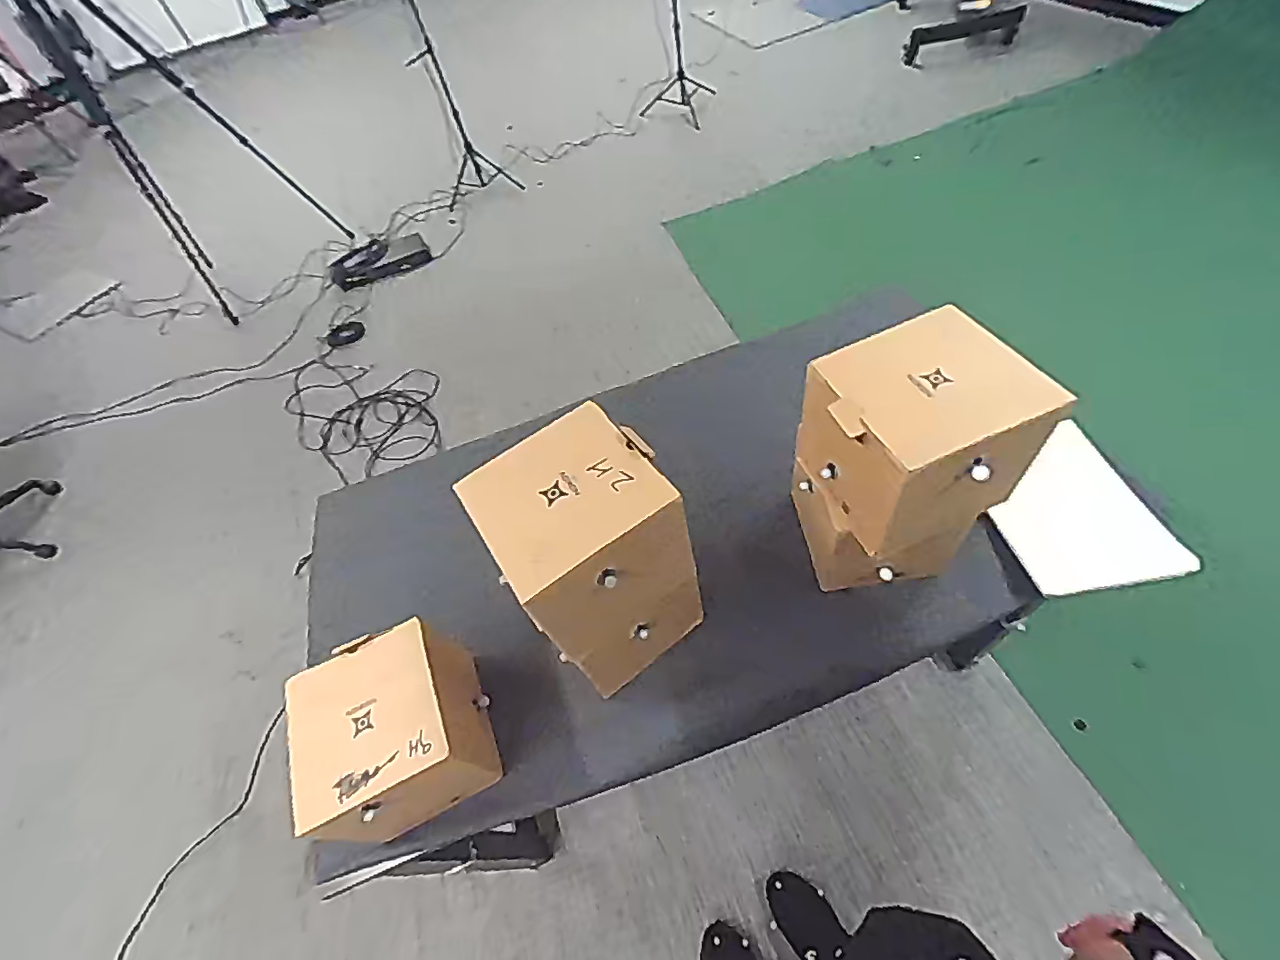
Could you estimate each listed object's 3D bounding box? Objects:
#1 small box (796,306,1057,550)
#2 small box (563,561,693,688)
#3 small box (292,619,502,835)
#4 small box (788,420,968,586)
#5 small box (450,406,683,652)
[{"bbox_3d":[0.290,-0.052,0.598,0.179,0.176,0.168,-24,54,-4],"label":"small box"},{"bbox_3d":[-0.044,0.150,0.732,0.179,0.176,0.168,-36,57,-14],"label":"small box"},{"bbox_3d":[-0.294,0.309,0.670,0.168,0.176,0.179,-27,55,-8],"label":"small box"},{"bbox_3d":[0.306,0.023,0.743,0.168,0.176,0.179,-10,54,6],"label":"small box"},{"bbox_3d":[-0.070,0.059,0.597,0.179,0.176,0.168,-34,57,-12],"label":"small box"}]
